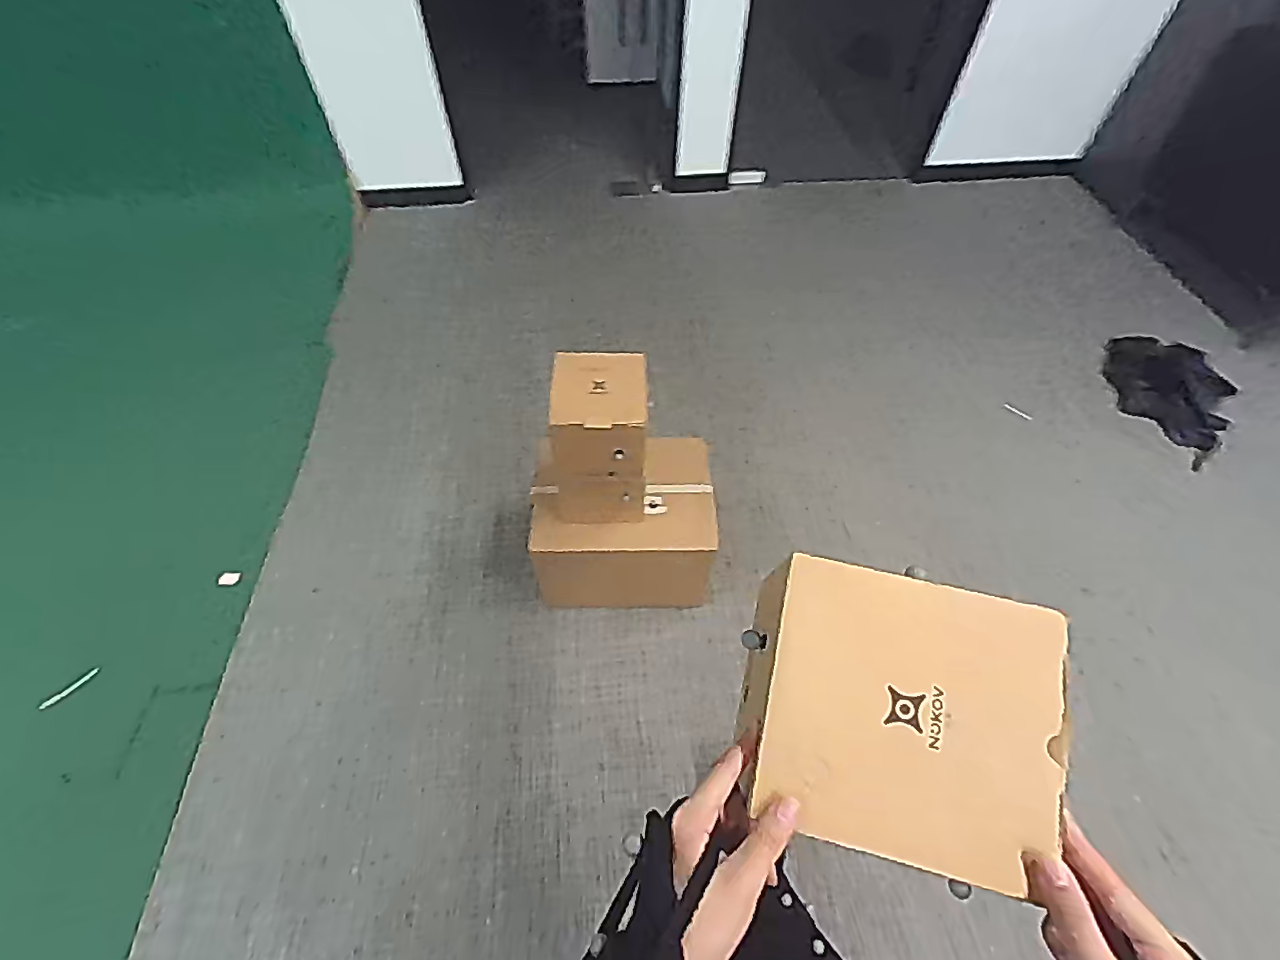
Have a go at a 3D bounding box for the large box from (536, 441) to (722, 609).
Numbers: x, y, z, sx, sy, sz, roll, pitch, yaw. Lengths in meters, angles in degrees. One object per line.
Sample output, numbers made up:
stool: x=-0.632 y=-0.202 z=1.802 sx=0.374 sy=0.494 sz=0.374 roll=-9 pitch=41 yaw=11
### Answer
large box: x=-0.033 y=0.118 z=1.346 sx=0.408 sy=0.320 sz=0.320 roll=0 pitch=55 yaw=-2

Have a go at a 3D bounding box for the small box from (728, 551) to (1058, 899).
small box: x=0.168 y=0.164 z=0.407 sx=0.179 sy=0.176 sz=0.168 roll=11 pitch=74 yaw=7

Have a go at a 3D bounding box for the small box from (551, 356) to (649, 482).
small box: x=-0.069 y=-0.109 z=1.006 sx=0.168 sy=0.176 sz=0.179 roll=0 pitch=54 yaw=-3
